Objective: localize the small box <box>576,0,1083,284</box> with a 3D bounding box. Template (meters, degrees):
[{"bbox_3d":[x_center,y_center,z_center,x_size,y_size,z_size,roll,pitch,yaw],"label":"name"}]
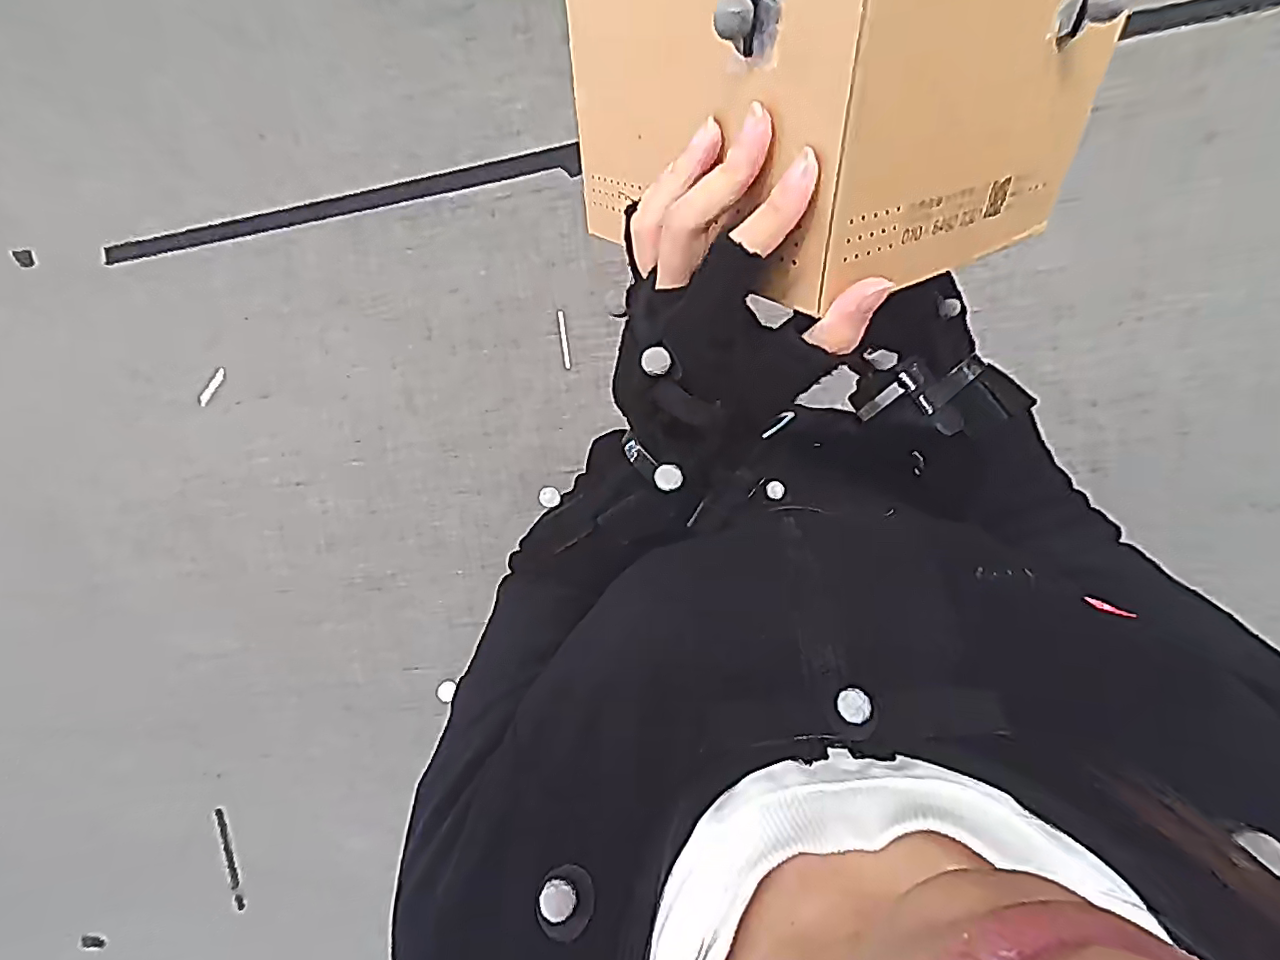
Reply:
[{"bbox_3d":[0.083,-0.206,0.261,0.168,0.179,0.176,-24,132,-25],"label":"small box"}]
